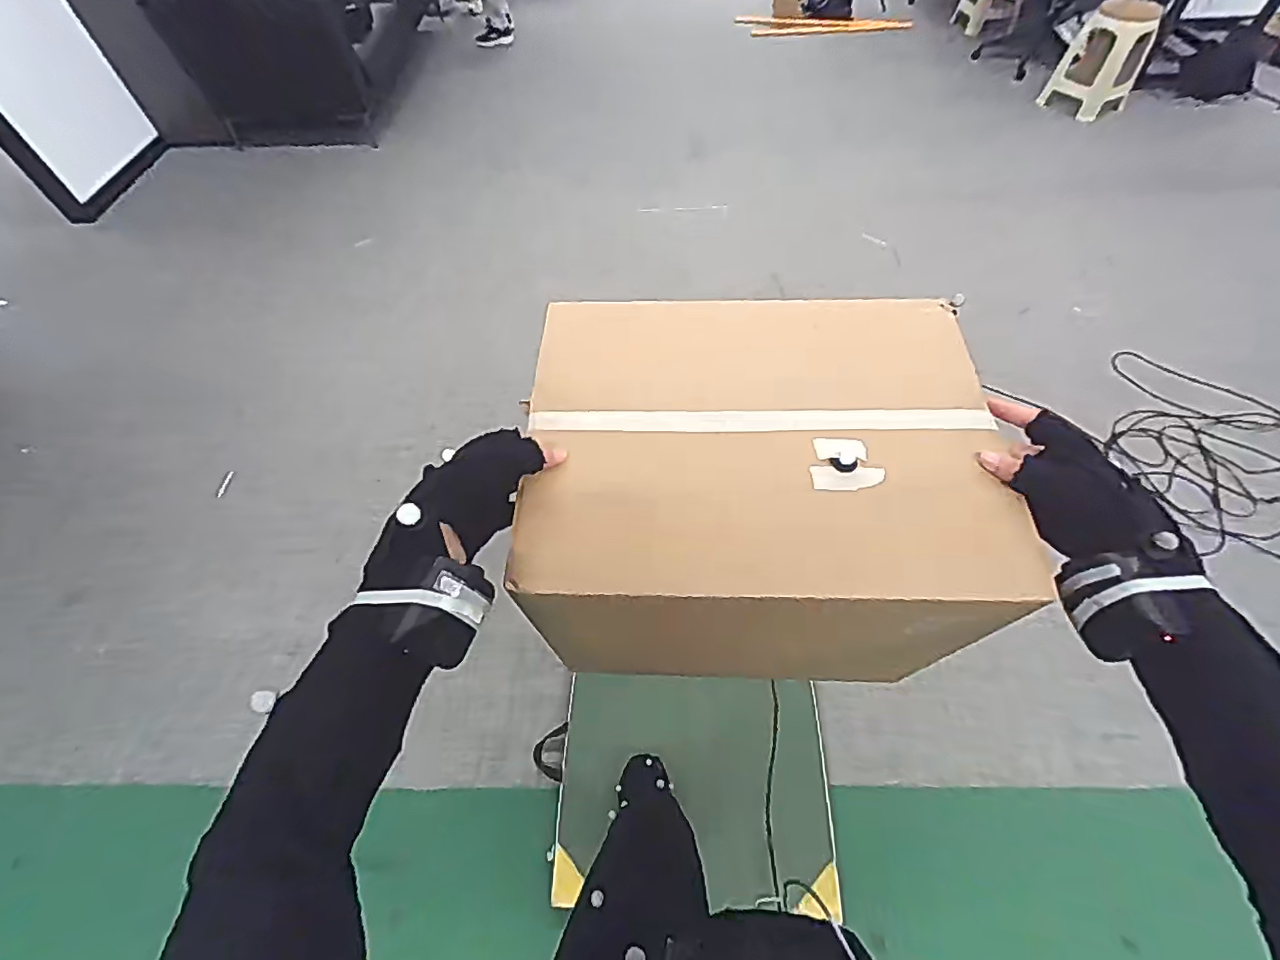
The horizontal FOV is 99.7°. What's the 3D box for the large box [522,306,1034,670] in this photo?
[{"bbox_3d":[0.108,0.026,0.618,0.408,0.320,0.320,1,60,2],"label":"large box"}]
